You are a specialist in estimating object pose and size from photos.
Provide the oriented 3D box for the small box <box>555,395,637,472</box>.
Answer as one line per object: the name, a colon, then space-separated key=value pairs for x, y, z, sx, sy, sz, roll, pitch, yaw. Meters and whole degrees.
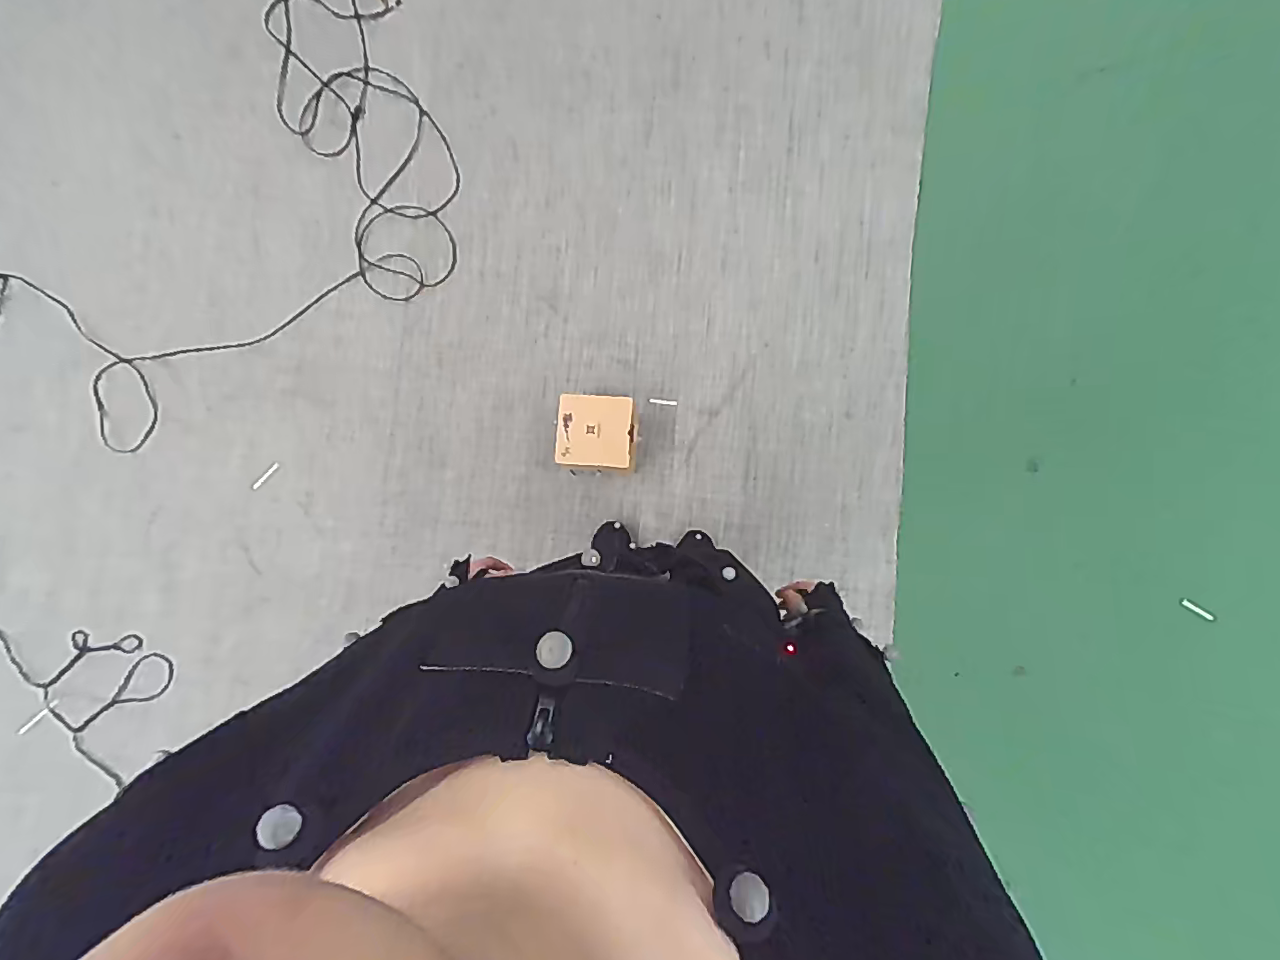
small box: x=-0.101 y=-0.109 z=1.328 sx=0.179 sy=0.176 sz=0.168 roll=3 pitch=87 yaw=4
